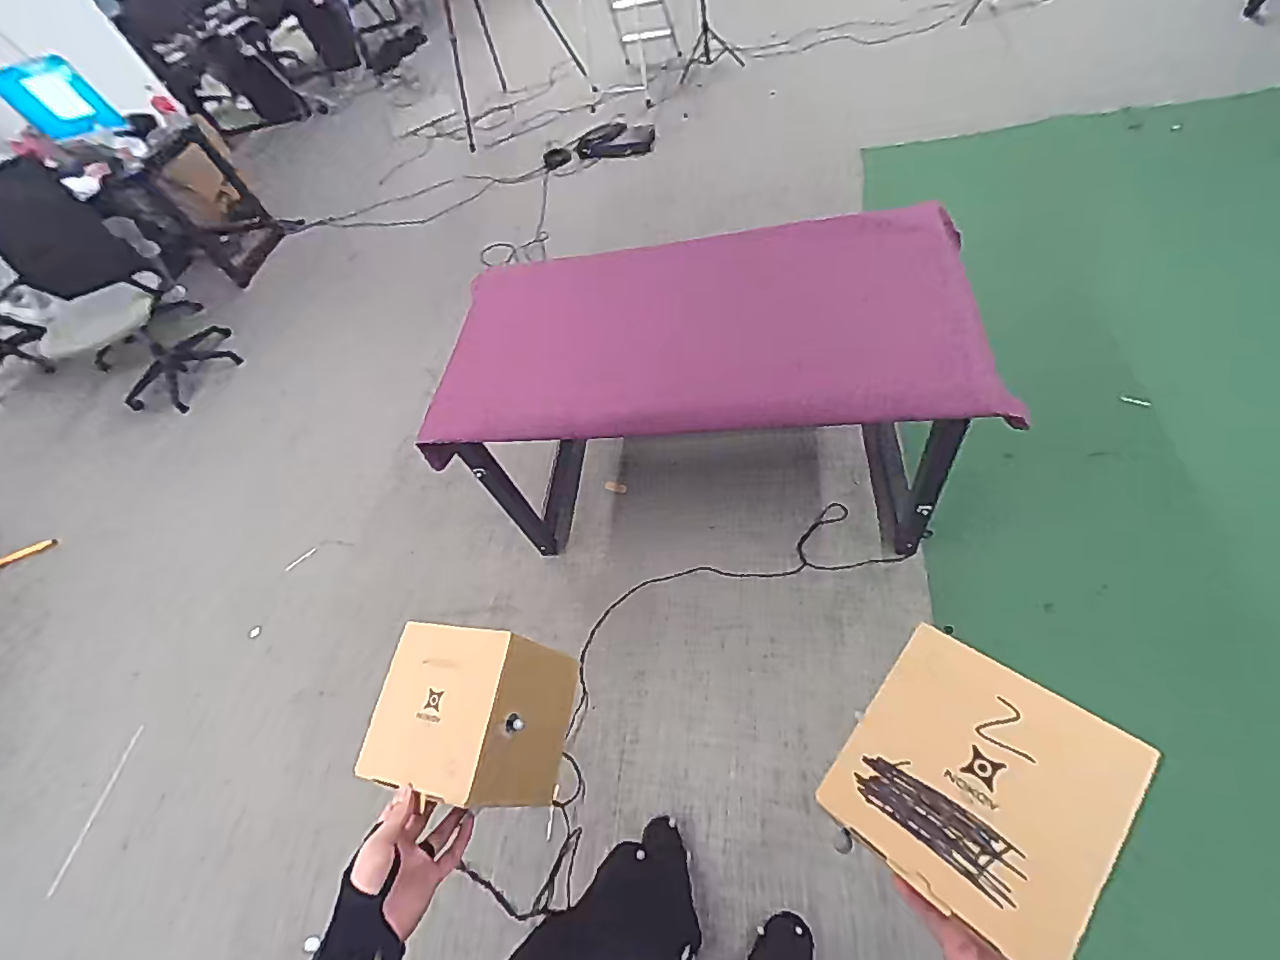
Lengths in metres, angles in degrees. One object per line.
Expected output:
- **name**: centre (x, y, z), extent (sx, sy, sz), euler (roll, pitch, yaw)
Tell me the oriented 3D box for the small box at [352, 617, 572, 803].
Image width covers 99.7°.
- **small box**: centre (-0.204, 0.282, 0.667), extent (0.168, 0.176, 0.179), euler (-2, 61, 25)
